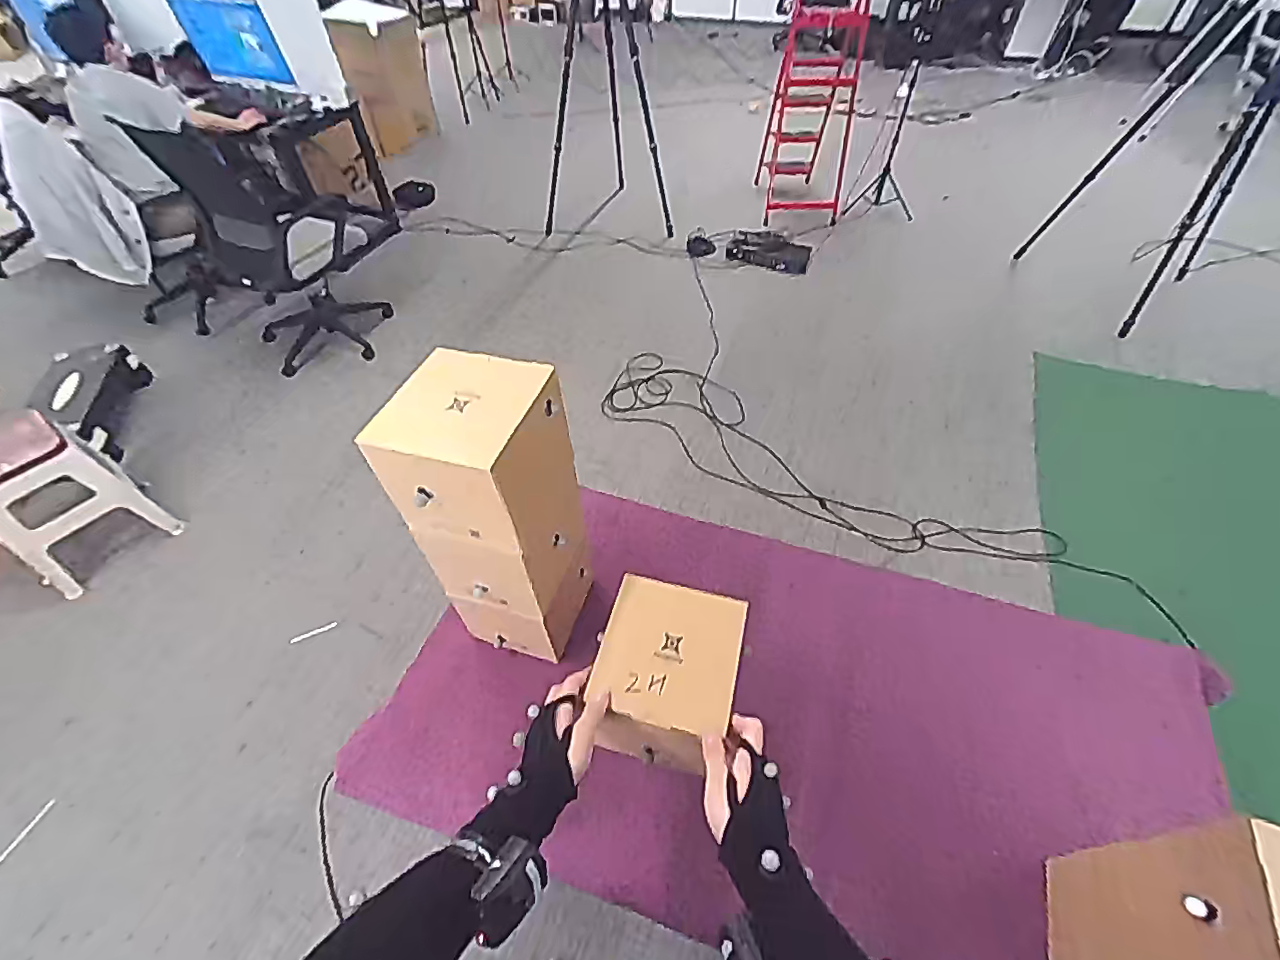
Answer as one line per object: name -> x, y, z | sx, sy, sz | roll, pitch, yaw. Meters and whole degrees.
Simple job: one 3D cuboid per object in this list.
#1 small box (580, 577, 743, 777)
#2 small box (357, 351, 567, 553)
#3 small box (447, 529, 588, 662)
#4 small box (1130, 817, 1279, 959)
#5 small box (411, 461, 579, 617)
small box -> 0.031, 0.260, 0.714 | 0.168, 0.176, 0.179 | 11, 51, 11
small box -> -0.202, -0.033, 0.677 | 0.168, 0.176, 0.179 | 12, 50, 13
small box -> -0.195, 0.180, 0.923 | 0.168, 0.176, 0.179 | 13, 52, 13
small box -> 0.570, 0.434, 0.462 | 0.168, 0.176, 0.179 | 18, 51, 18
small box -> -0.197, 0.072, 0.800 | 0.168, 0.176, 0.179 | 12, 51, 13
